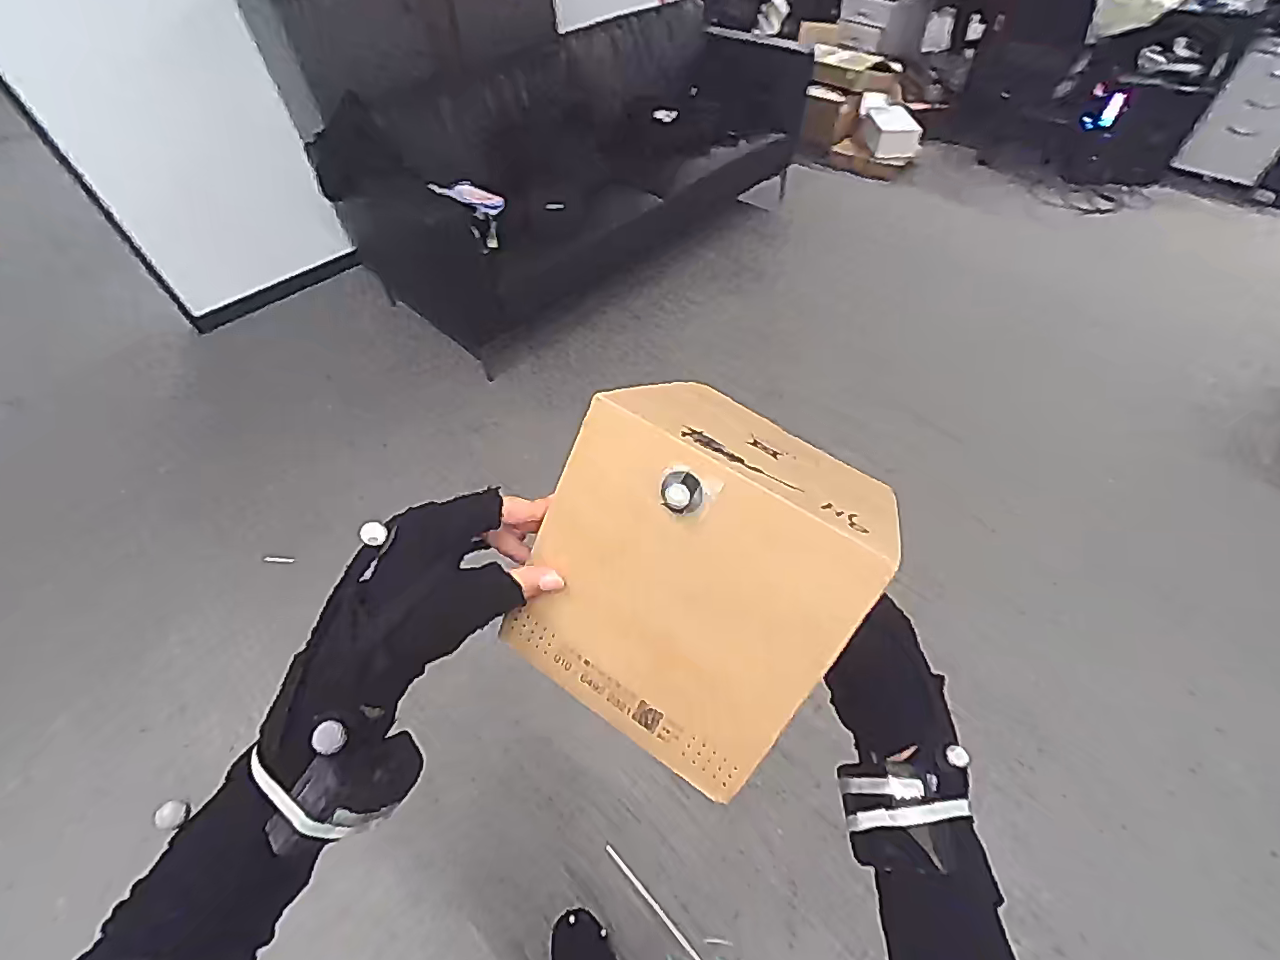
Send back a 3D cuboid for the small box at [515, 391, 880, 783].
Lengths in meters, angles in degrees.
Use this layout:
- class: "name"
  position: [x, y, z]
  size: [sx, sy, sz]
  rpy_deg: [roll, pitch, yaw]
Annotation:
- class: "small box"
  position: [0.042, 0.052, 0.370]
  size: [0.168, 0.176, 0.179]
  rpy_deg: [30, 20, 16]
